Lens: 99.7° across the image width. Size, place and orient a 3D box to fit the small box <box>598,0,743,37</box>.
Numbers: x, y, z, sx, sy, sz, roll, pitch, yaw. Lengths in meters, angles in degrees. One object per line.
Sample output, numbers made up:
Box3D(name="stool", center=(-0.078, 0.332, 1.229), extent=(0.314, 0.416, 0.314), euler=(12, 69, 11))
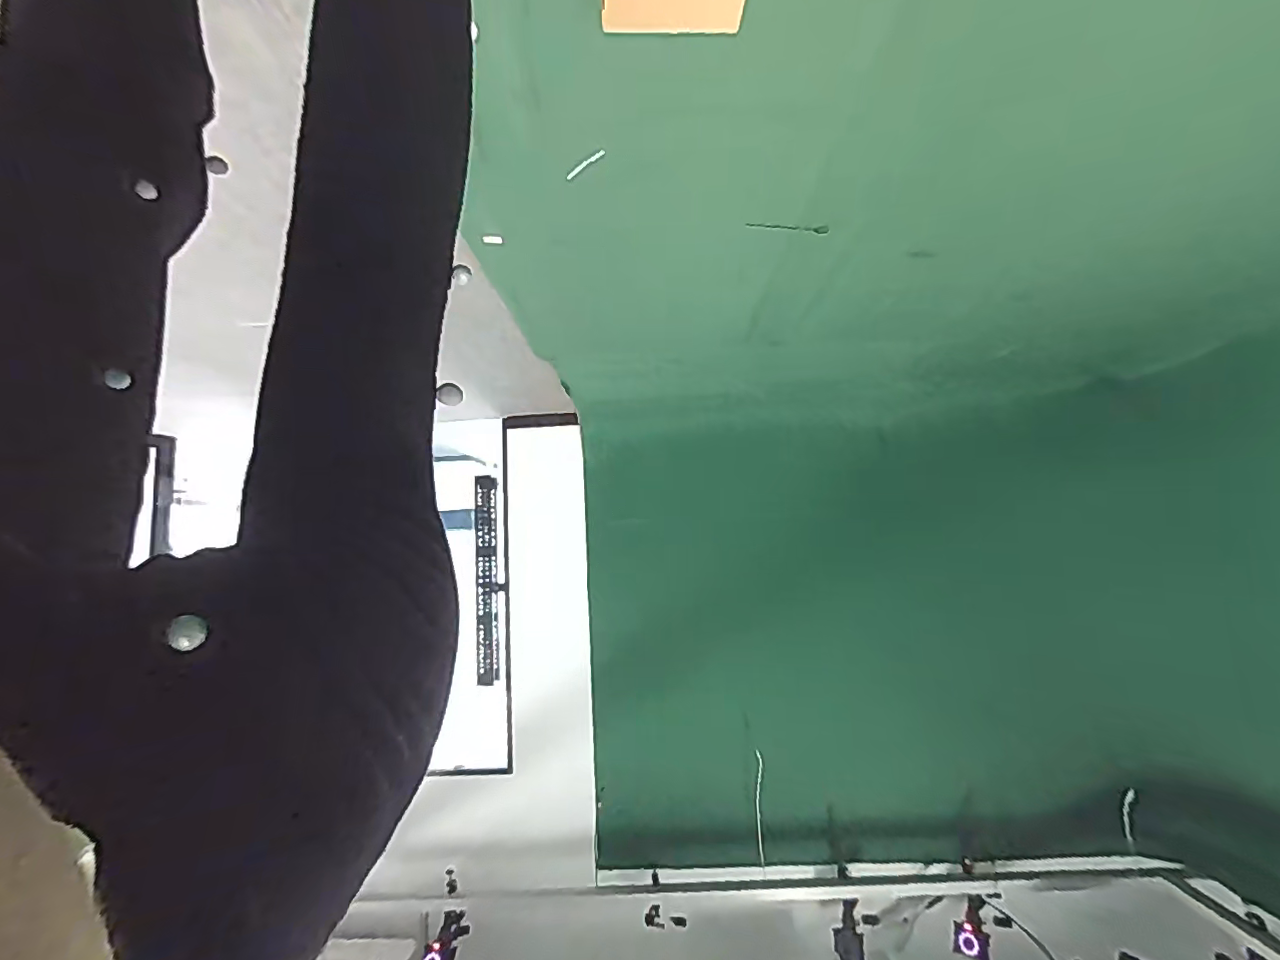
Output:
Box3D(name="small box", center=(0.036, -0.658, 0.619), extent=(0.179, 0.176, 0.168), euler=(-1, 174, -2))
